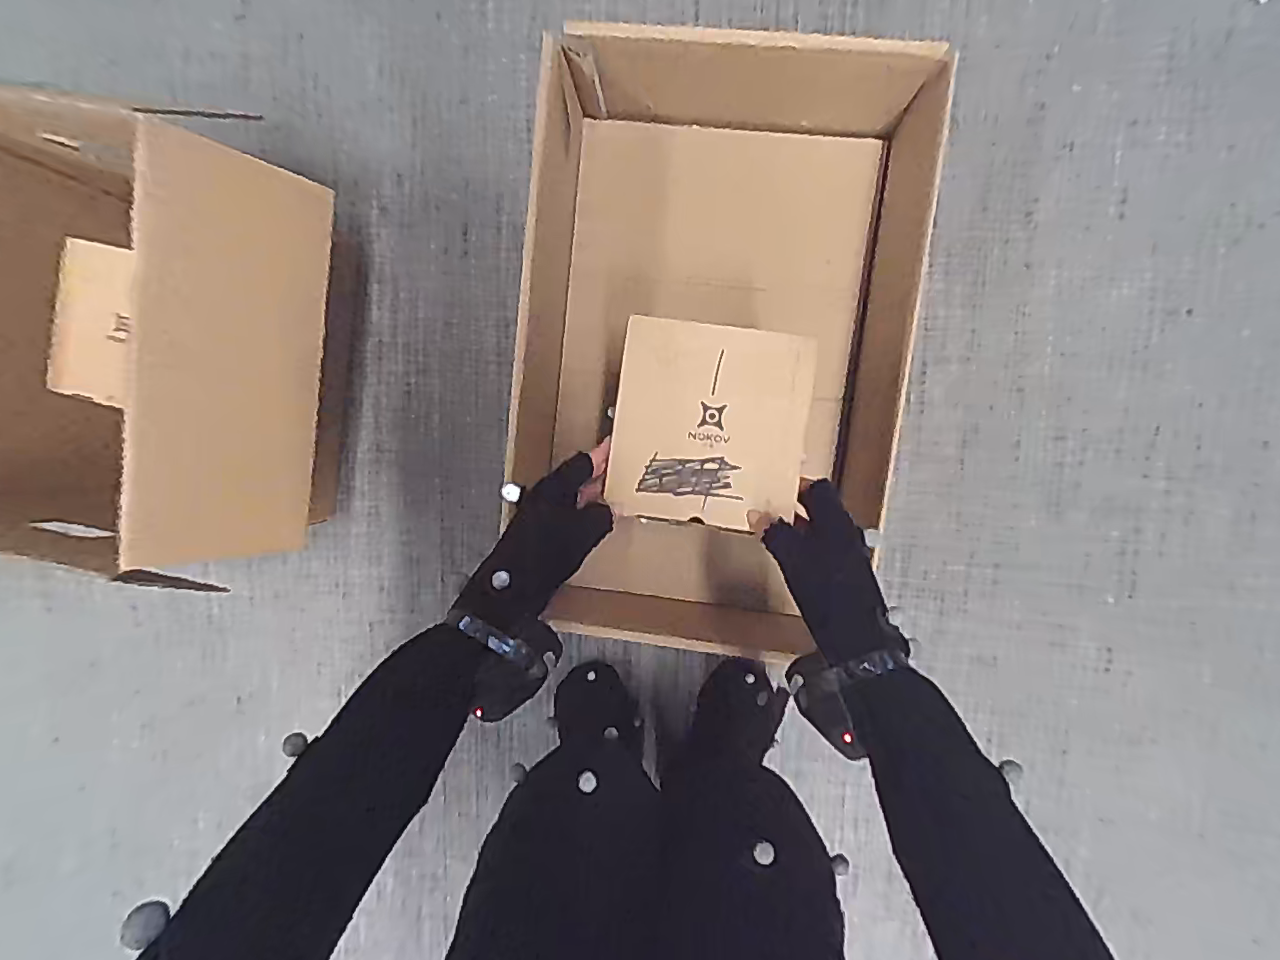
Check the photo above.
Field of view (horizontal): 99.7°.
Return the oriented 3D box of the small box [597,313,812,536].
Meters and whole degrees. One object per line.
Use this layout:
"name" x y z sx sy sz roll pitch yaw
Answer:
"small box" 0.060 -0.050 0.550 0.168 0.176 0.179 9 90 3
